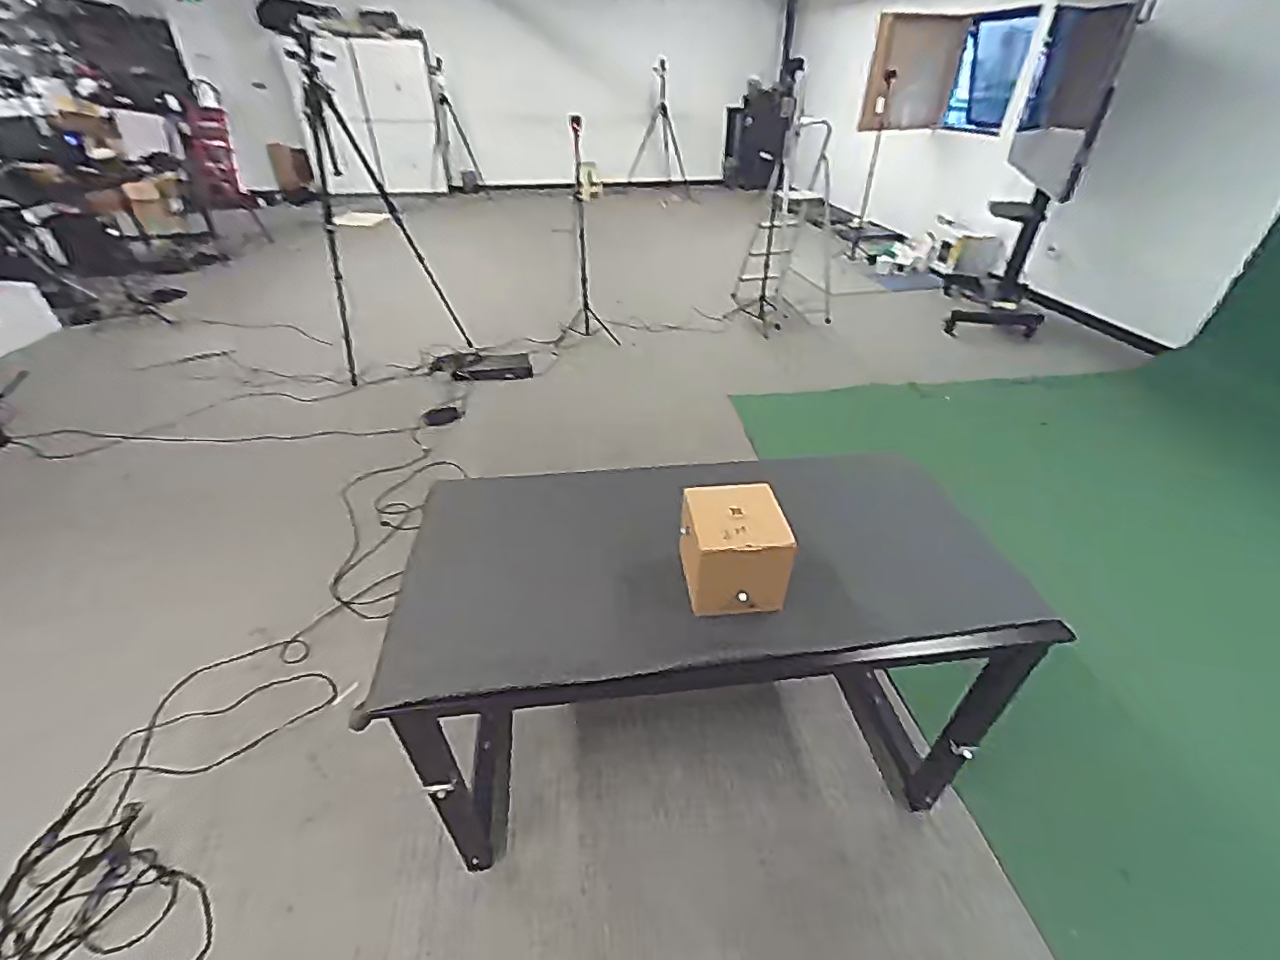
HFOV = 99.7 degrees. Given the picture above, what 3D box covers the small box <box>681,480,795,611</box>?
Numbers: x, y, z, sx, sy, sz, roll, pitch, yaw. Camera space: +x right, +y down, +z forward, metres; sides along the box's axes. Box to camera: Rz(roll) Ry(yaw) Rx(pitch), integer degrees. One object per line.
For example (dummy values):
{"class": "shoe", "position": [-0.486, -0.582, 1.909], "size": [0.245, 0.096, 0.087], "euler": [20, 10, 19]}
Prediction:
{"class": "small box", "position": [0.171, 0.120, 1.012], "size": [0.168, 0.176, 0.179], "euler": [-4, 37, -5]}
